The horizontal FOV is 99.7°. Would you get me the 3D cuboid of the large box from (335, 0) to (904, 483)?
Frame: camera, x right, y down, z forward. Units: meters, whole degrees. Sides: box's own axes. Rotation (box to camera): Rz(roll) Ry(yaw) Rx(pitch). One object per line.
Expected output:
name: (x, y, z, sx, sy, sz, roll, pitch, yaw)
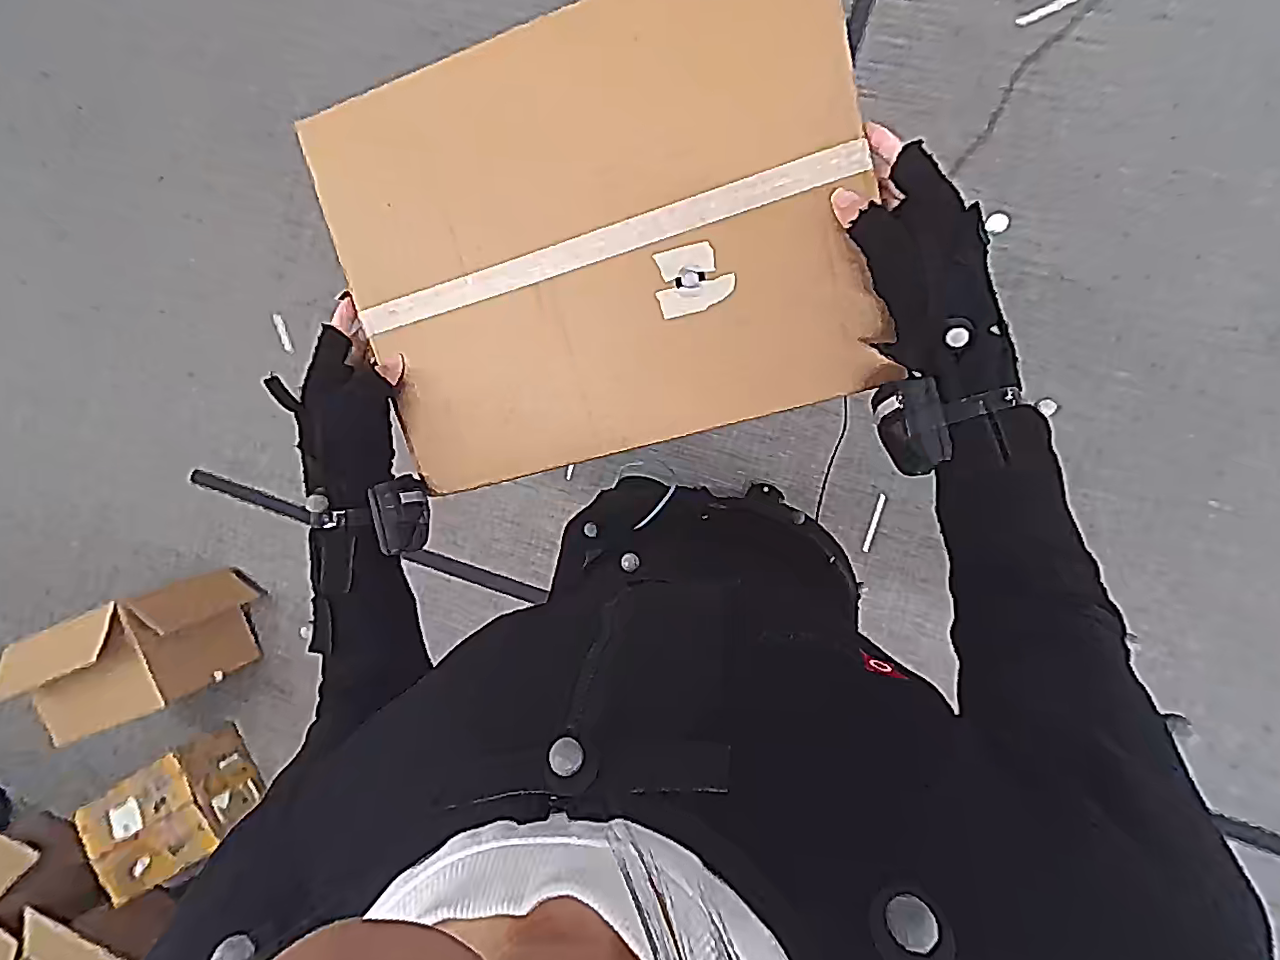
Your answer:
large box: (-0.003, -0.215, 0.568, 0.408, 0.320, 0.320, -13, 101, 11)
